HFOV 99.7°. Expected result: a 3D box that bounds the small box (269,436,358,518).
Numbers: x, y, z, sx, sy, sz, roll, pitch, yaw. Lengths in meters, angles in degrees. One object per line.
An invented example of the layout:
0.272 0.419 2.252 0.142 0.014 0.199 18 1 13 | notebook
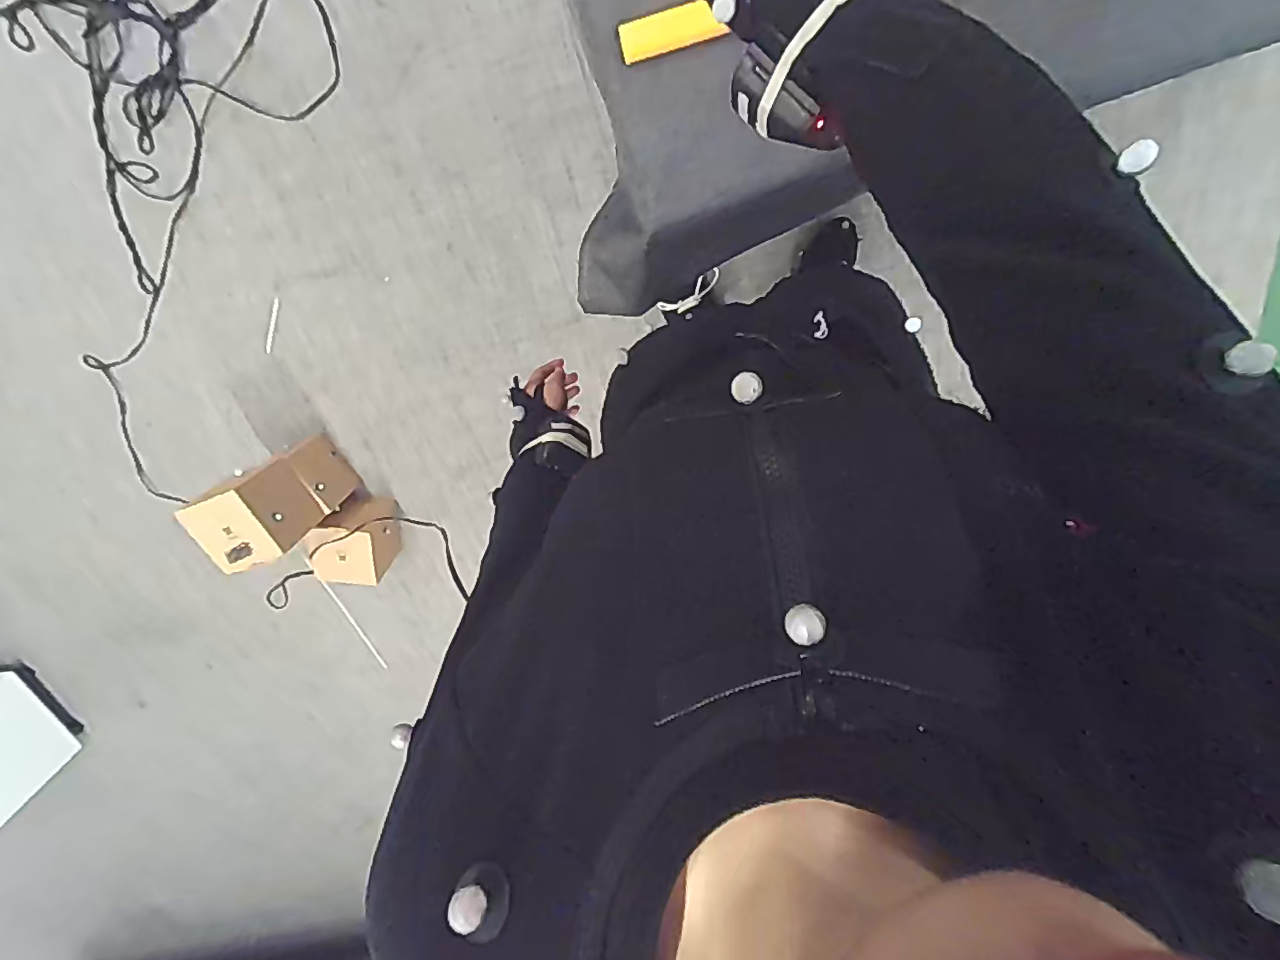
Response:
-0.871 0.013 1.383 0.179 0.176 0.168 -23 113 13 | small box

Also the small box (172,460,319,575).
-0.883 0.082 1.234 0.168 0.176 0.179 -18 115 10 | small box
